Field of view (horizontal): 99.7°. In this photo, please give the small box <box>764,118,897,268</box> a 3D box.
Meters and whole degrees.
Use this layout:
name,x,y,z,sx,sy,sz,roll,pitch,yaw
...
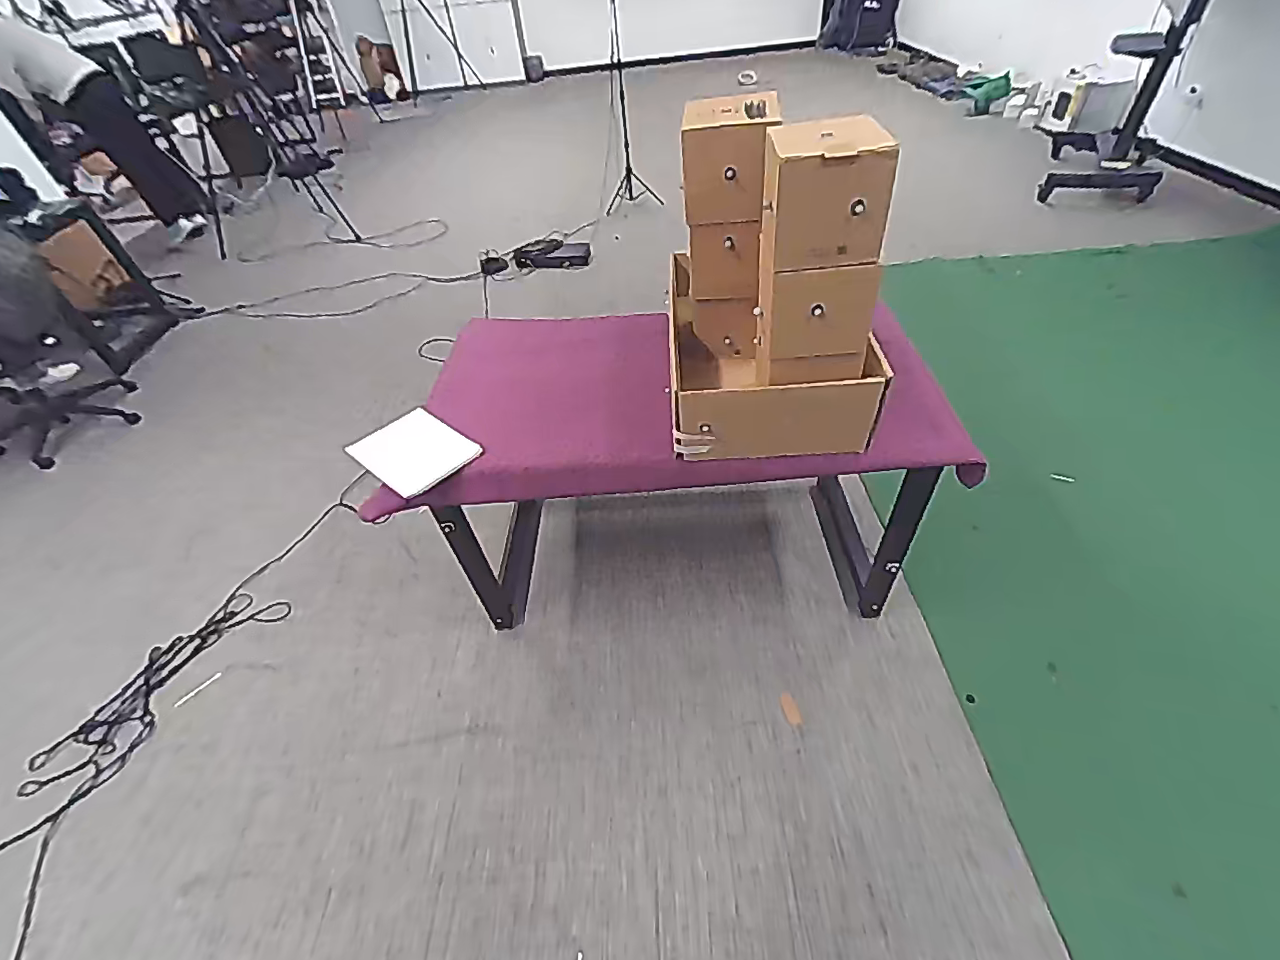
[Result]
name,x,y,z,sx,sy,sz,roll,pitch,yaw
small box,0.292,-0.454,0.869,0.168,0.176,0.179,-2,45,7

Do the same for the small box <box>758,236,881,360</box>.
name,x,y,z,sx,sy,sz,roll,pitch,yaw
small box,0.312,-0.335,0.979,0.179,0.176,0.168,-4,45,7

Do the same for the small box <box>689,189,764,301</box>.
name,x,y,z,sx,sy,sz,roll,pitch,yaw
small box,0.200,-0.502,1.163,0.179,0.176,0.168,1,49,9
